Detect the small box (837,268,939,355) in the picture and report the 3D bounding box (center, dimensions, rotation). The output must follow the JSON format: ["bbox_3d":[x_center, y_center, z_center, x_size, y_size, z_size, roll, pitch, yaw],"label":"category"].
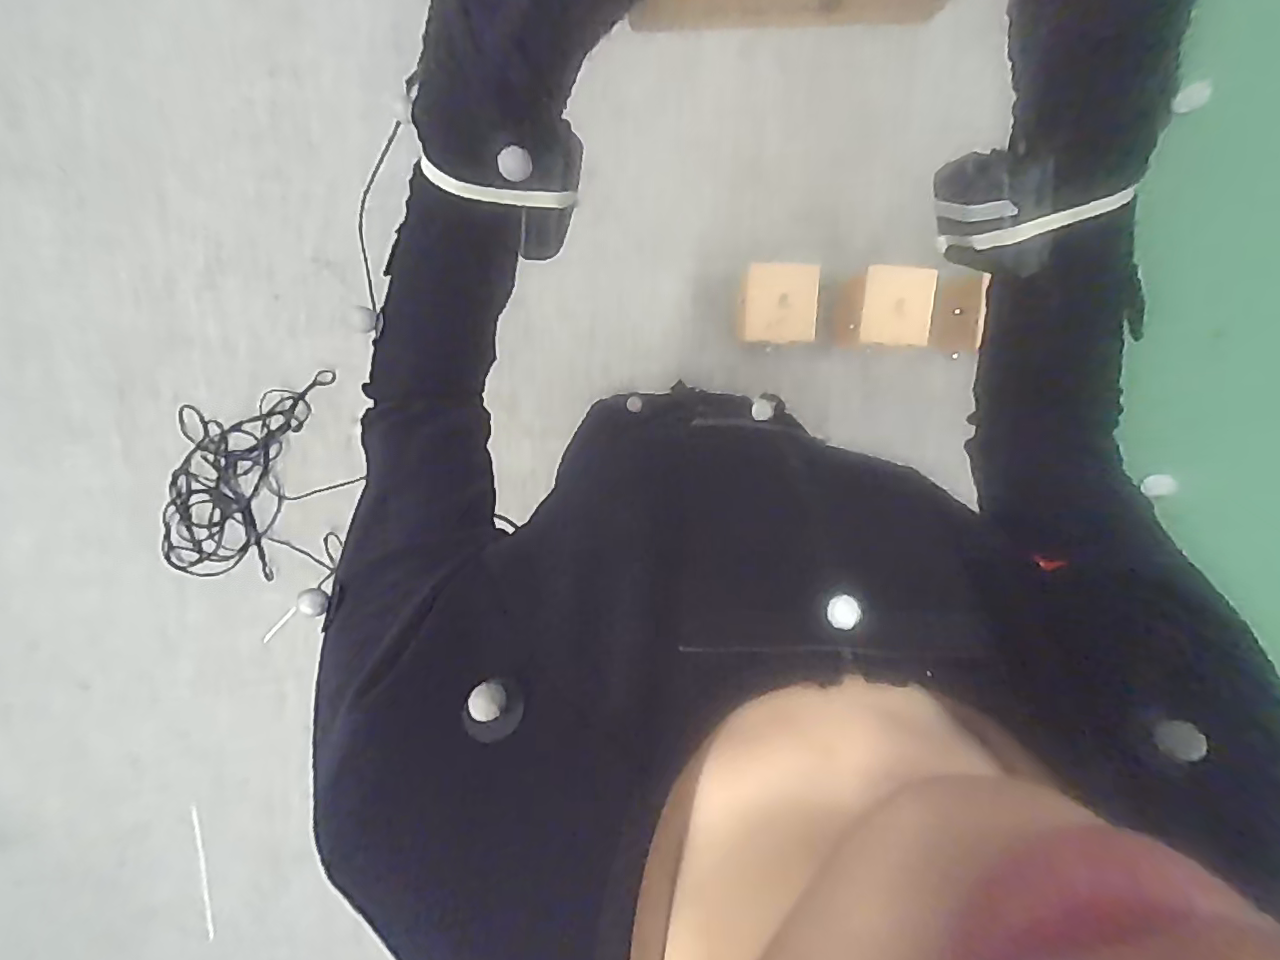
[{"bbox_3d":[0.597,-0.405,1.323,0.168,0.176,0.179,3,100,-1],"label":"small box"}]

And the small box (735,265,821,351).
[{"bbox_3d":[0.328,-0.413,1.319,0.168,0.176,0.179,2,100,1],"label":"small box"}]

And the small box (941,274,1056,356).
[{"bbox_3d":[0.866,-0.396,1.324,0.168,0.176,0.179,0,99,0],"label":"small box"}]
